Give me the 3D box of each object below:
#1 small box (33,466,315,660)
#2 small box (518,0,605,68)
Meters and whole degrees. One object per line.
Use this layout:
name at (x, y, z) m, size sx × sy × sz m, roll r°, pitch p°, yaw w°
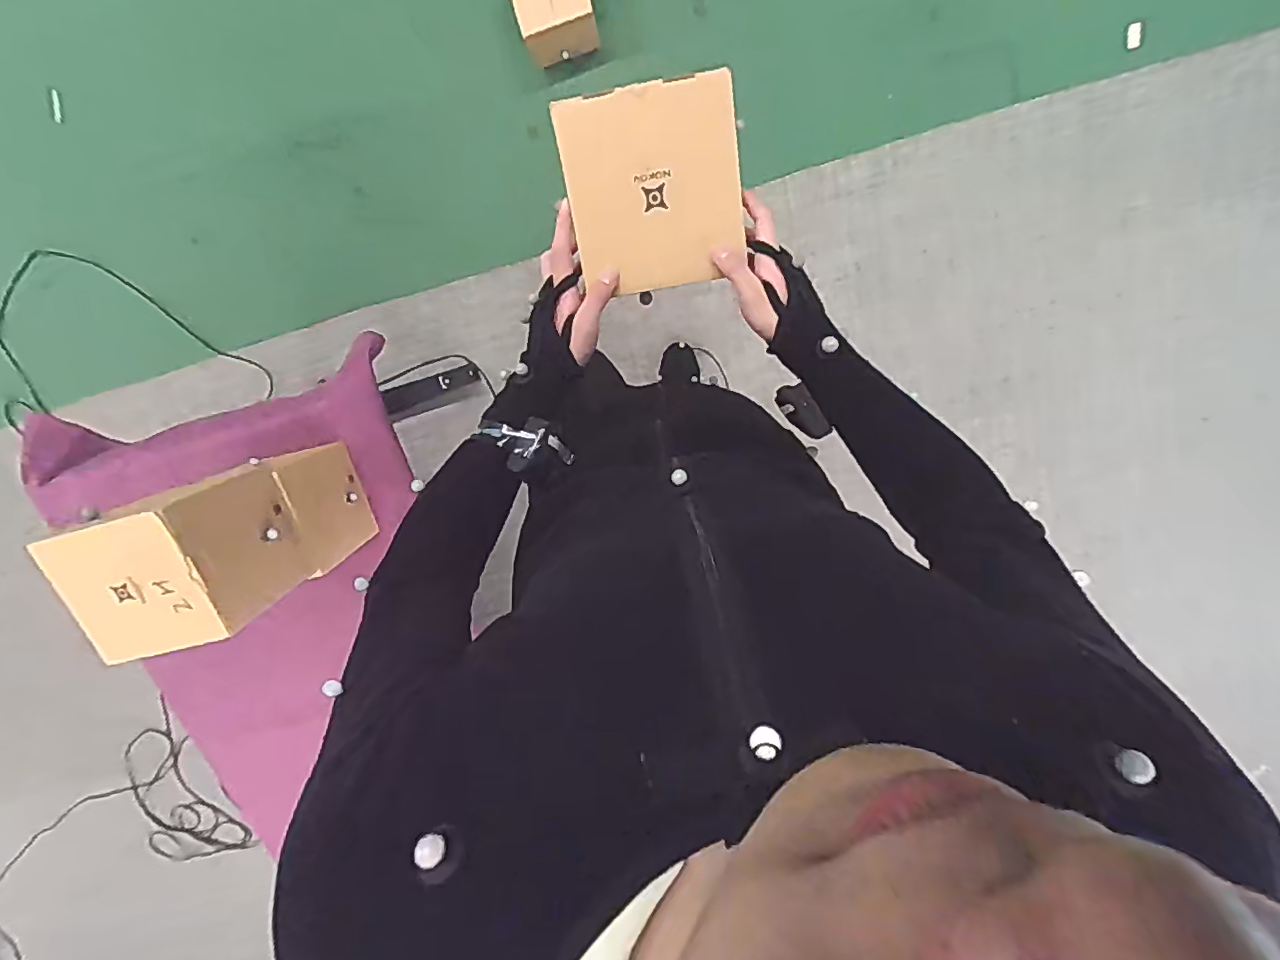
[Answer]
small box at (-0.564, 0.096, 0.684) m, size 0.179 × 0.176 × 0.168 m, roll -13°, pitch 108°, yaw 7°
small box at (-0.187, -1.094, 1.234) m, size 0.168 × 0.176 × 0.179 m, roll -14°, pitch 107°, yaw 7°
